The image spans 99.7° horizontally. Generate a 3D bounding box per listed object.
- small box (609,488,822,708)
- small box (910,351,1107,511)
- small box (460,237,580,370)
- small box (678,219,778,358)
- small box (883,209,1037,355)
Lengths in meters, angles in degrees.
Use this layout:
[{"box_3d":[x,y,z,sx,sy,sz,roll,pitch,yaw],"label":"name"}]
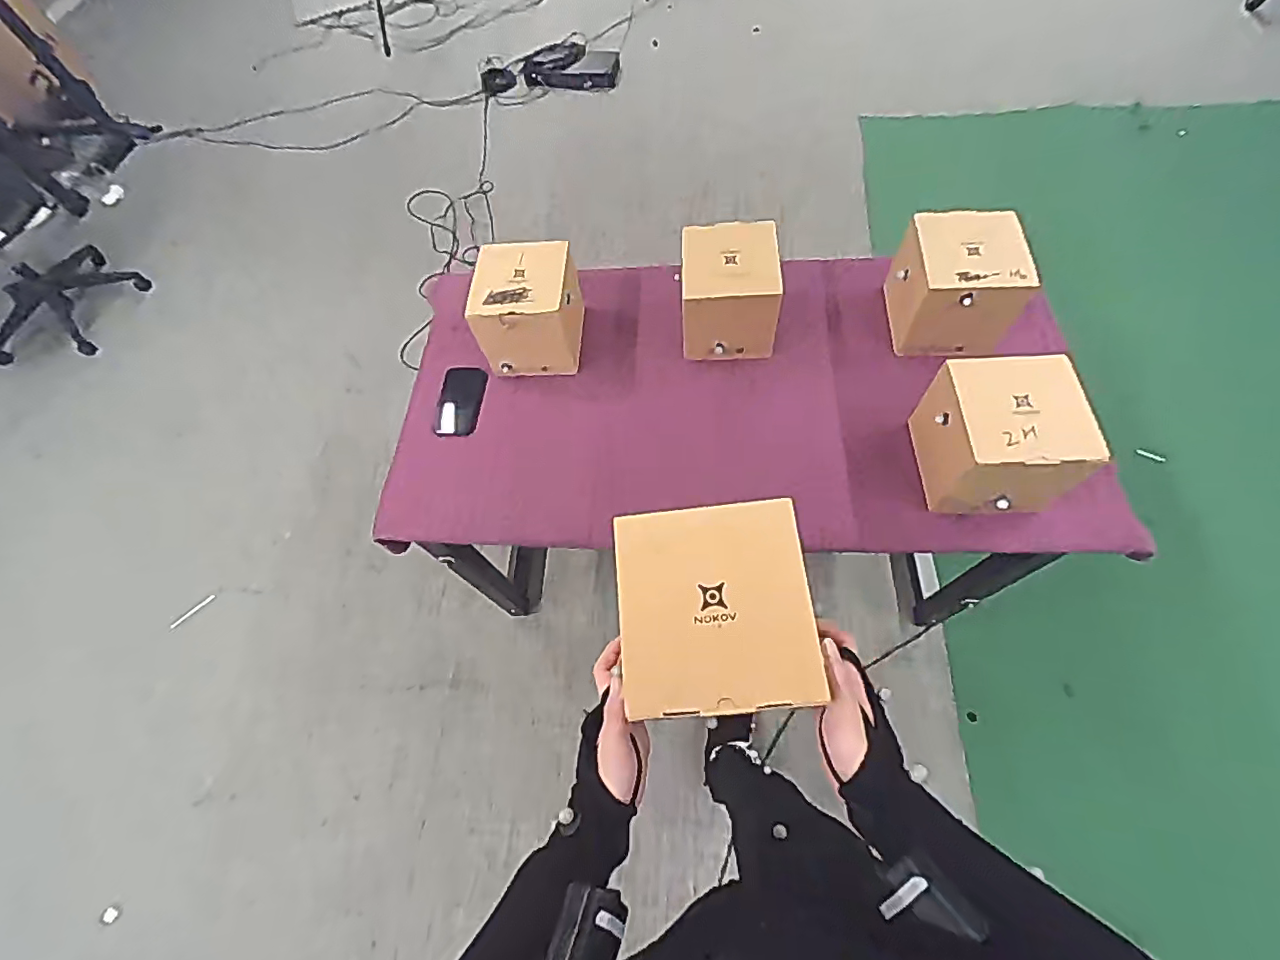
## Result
[{"box_3d":[0.064,0.125,0.532,0.168,0.176,0.179,-7,67,4],"label":"small box"},{"box_3d":[0.521,-0.067,0.800,0.168,0.176,0.179,-1,63,7],"label":"small box"},{"box_3d":[-0.211,-0.319,1.006,0.168,0.176,0.179,0,63,5],"label":"small box"},{"box_3d":[0.153,-0.343,0.983,0.168,0.176,0.179,-1,64,6],"label":"small box"},{"box_3d":[0.539,-0.341,0.942,0.168,0.176,0.179,1,63,7],"label":"small box"}]
